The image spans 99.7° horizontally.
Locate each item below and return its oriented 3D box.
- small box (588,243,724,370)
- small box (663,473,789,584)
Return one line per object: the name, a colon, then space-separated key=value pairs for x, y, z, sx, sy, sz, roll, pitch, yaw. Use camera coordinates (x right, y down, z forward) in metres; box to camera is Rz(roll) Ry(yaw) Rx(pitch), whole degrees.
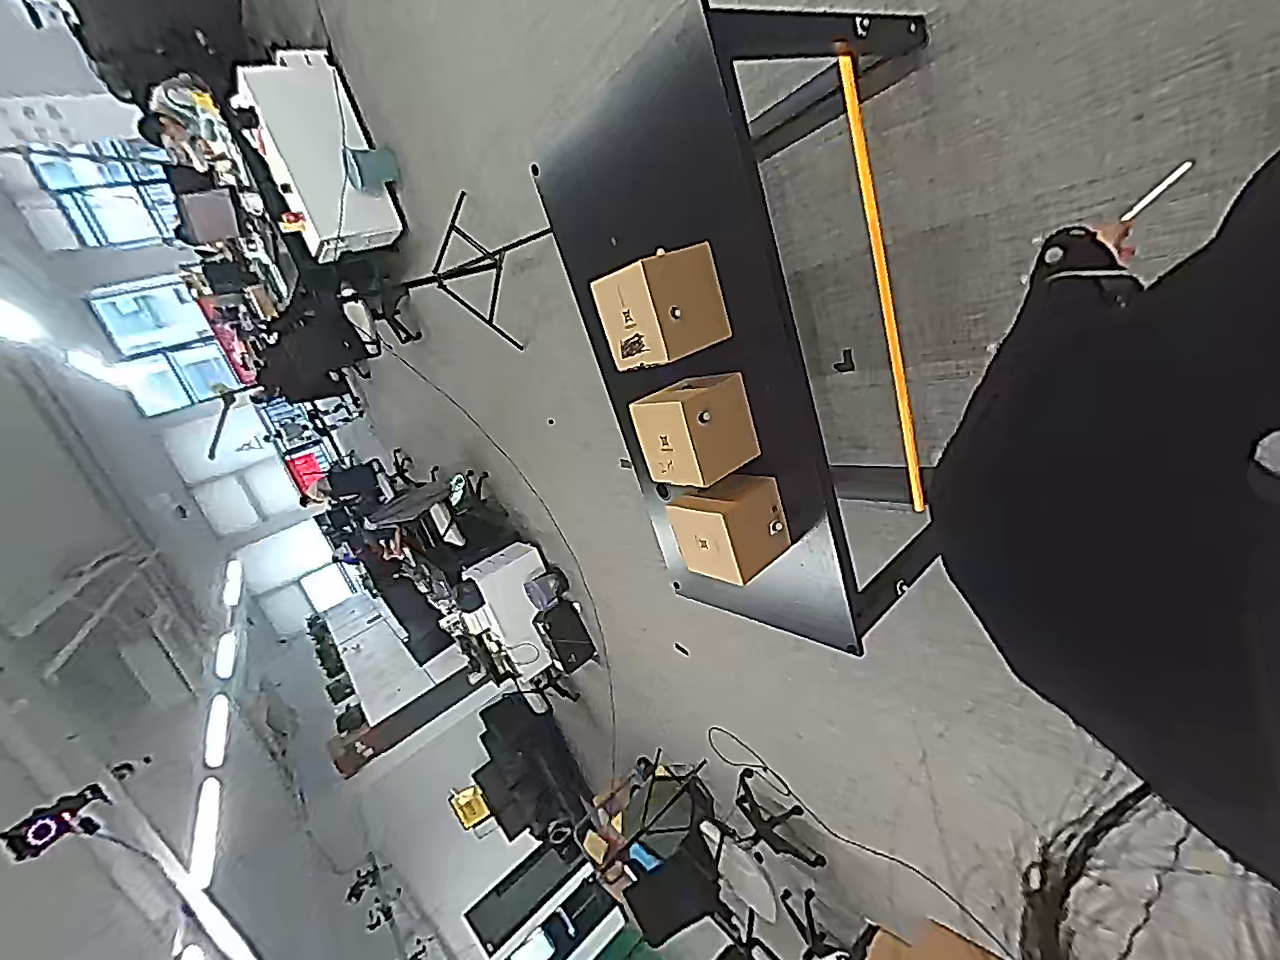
small box: x=0.035 y=-0.323 z=1.017 sx=0.168 sy=0.176 sz=0.179 roll=7 pitch=120 yaw=54
small box: x=0.184 y=0.093 z=1.147 sx=0.179 sy=0.176 sz=0.168 roll=5 pitch=120 yaw=54
